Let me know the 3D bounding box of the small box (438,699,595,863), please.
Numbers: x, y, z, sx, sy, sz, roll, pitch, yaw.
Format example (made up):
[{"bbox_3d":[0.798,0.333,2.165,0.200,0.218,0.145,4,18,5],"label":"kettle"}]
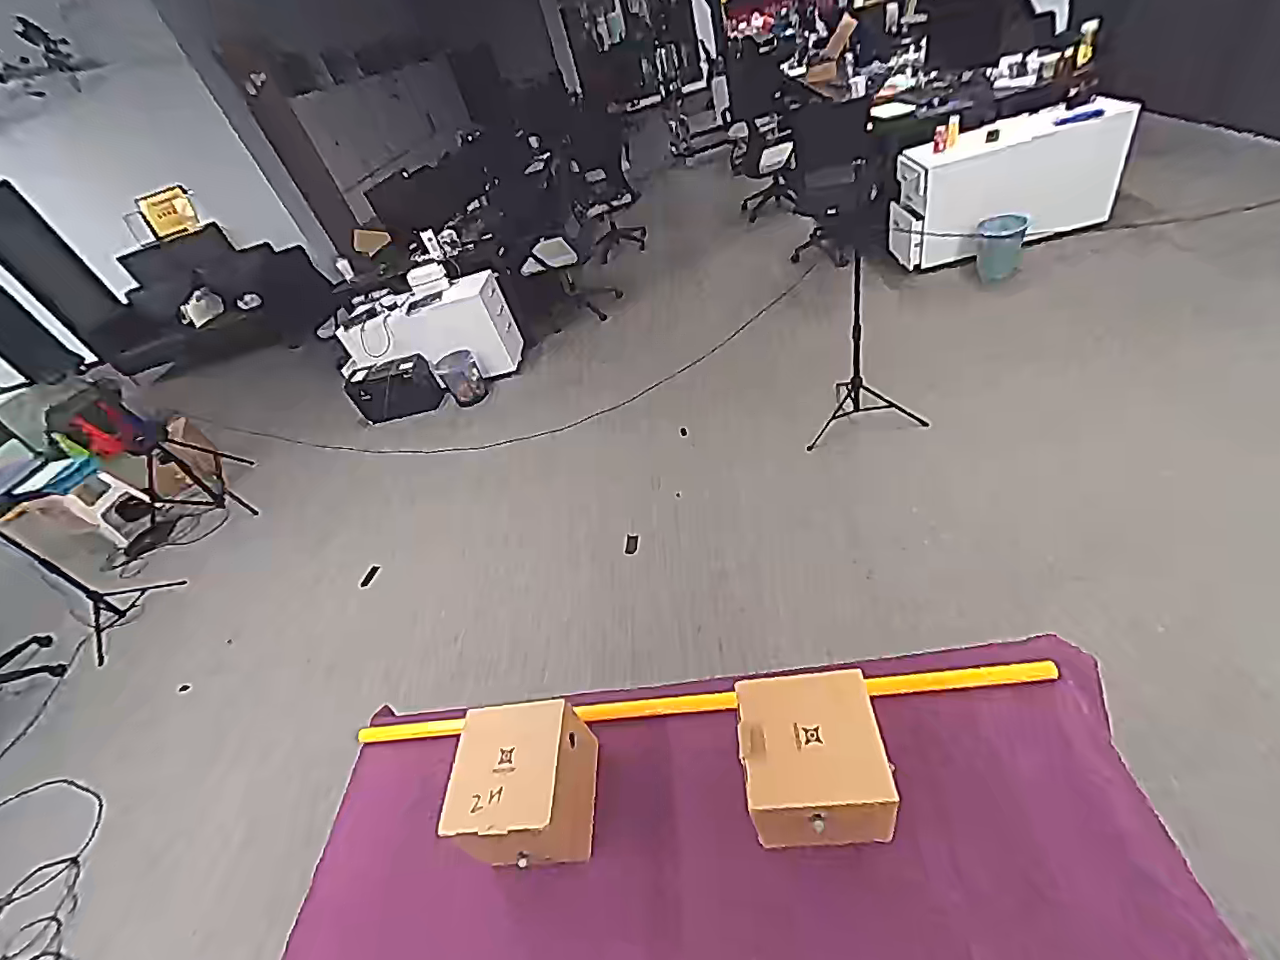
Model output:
[{"bbox_3d":[-0.174,0.463,0.831,0.168,0.176,0.179,-11,42,11],"label":"small box"}]

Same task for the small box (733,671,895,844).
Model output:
[{"bbox_3d":[0.235,0.388,0.752,0.179,0.176,0.168,-11,42,11],"label":"small box"}]
